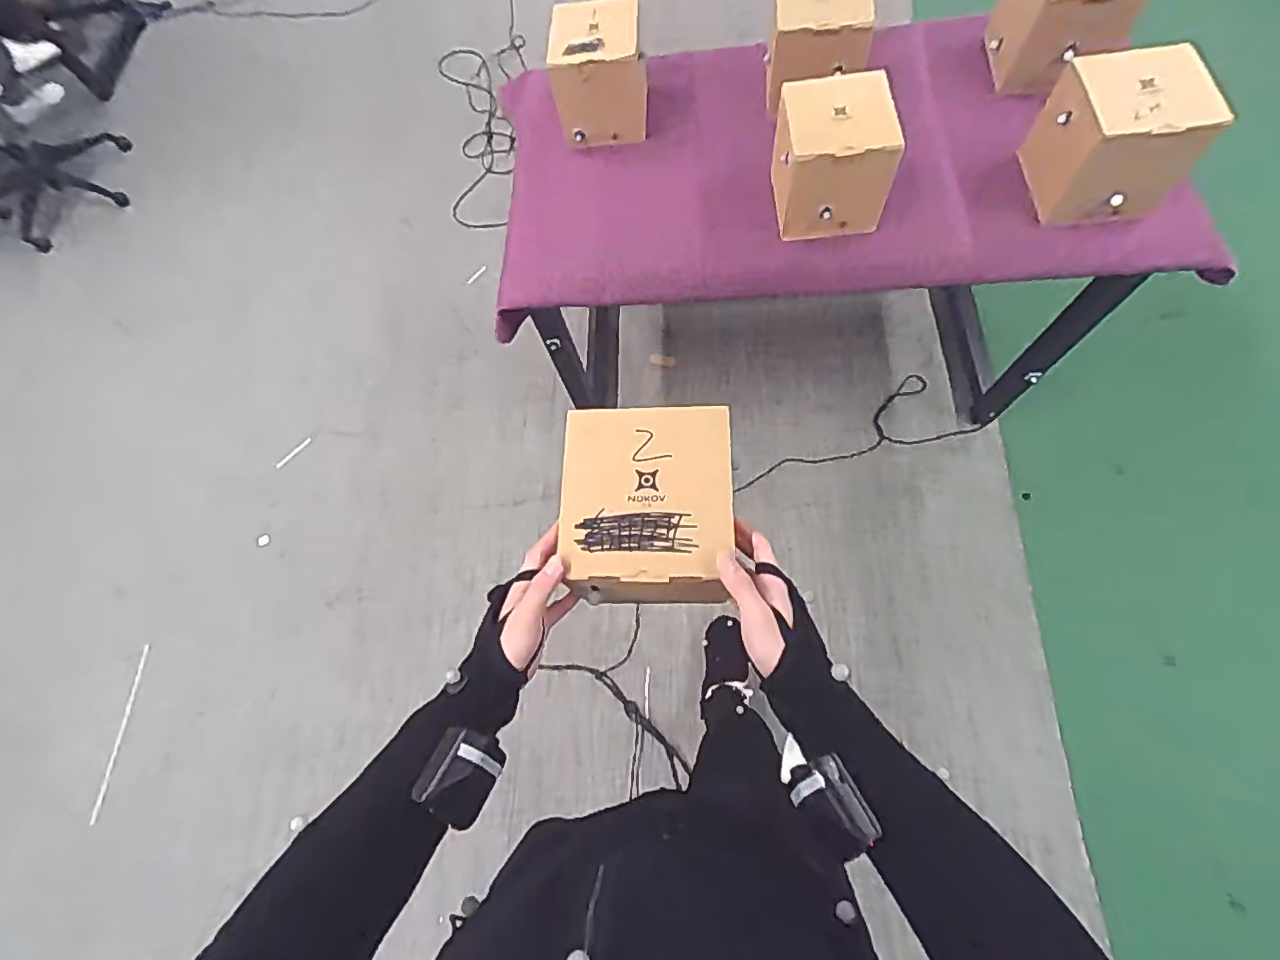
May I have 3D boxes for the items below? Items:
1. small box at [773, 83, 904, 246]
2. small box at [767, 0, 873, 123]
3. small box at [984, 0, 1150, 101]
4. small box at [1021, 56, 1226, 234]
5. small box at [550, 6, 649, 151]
[{"bbox_3d":[0.328,-0.537,0.933,0.168,0.176,0.179,-3,69,6],"label":"small box"},{"bbox_3d":[0.337,-0.815,1.038,0.168,0.176,0.179,2,70,7],"label":"small box"},{"bbox_3d":[0.761,-0.827,0.984,0.168,0.176,0.179,0,72,7],"label":"small box"},{"bbox_3d":[0.755,-0.531,0.872,0.168,0.176,0.179,-2,68,9],"label":"small box"},{"bbox_3d":[-0.072,-0.786,1.076,0.168,0.176,0.179,-1,69,6],"label":"small box"}]
